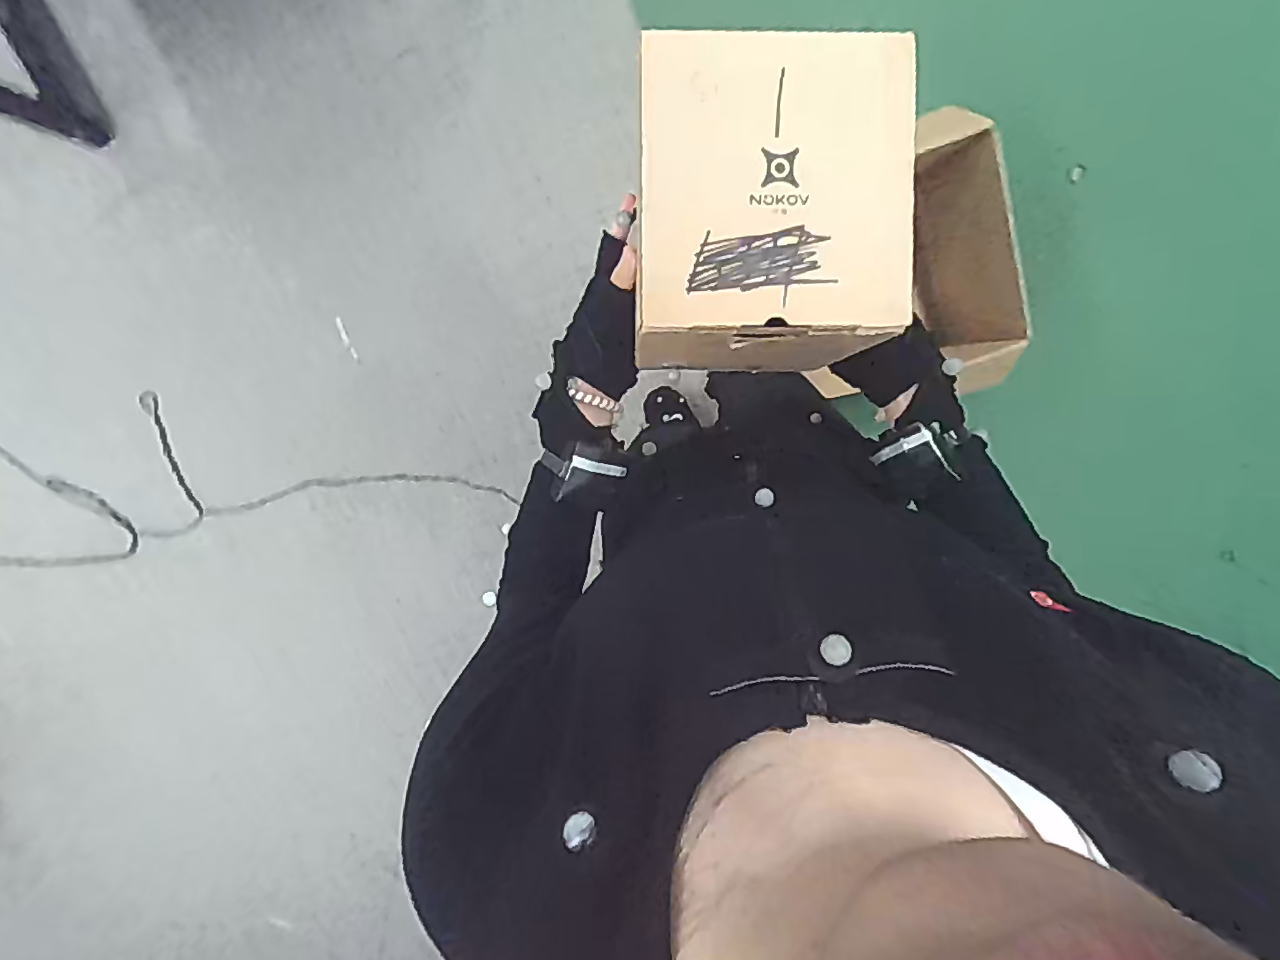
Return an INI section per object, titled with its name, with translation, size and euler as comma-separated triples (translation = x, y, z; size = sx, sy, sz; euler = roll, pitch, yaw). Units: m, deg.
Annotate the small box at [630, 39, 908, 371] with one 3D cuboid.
[small box]
translation = 0.077, -0.179, 0.406
size = 0.168, 0.176, 0.179
euler = -1, 92, -2
